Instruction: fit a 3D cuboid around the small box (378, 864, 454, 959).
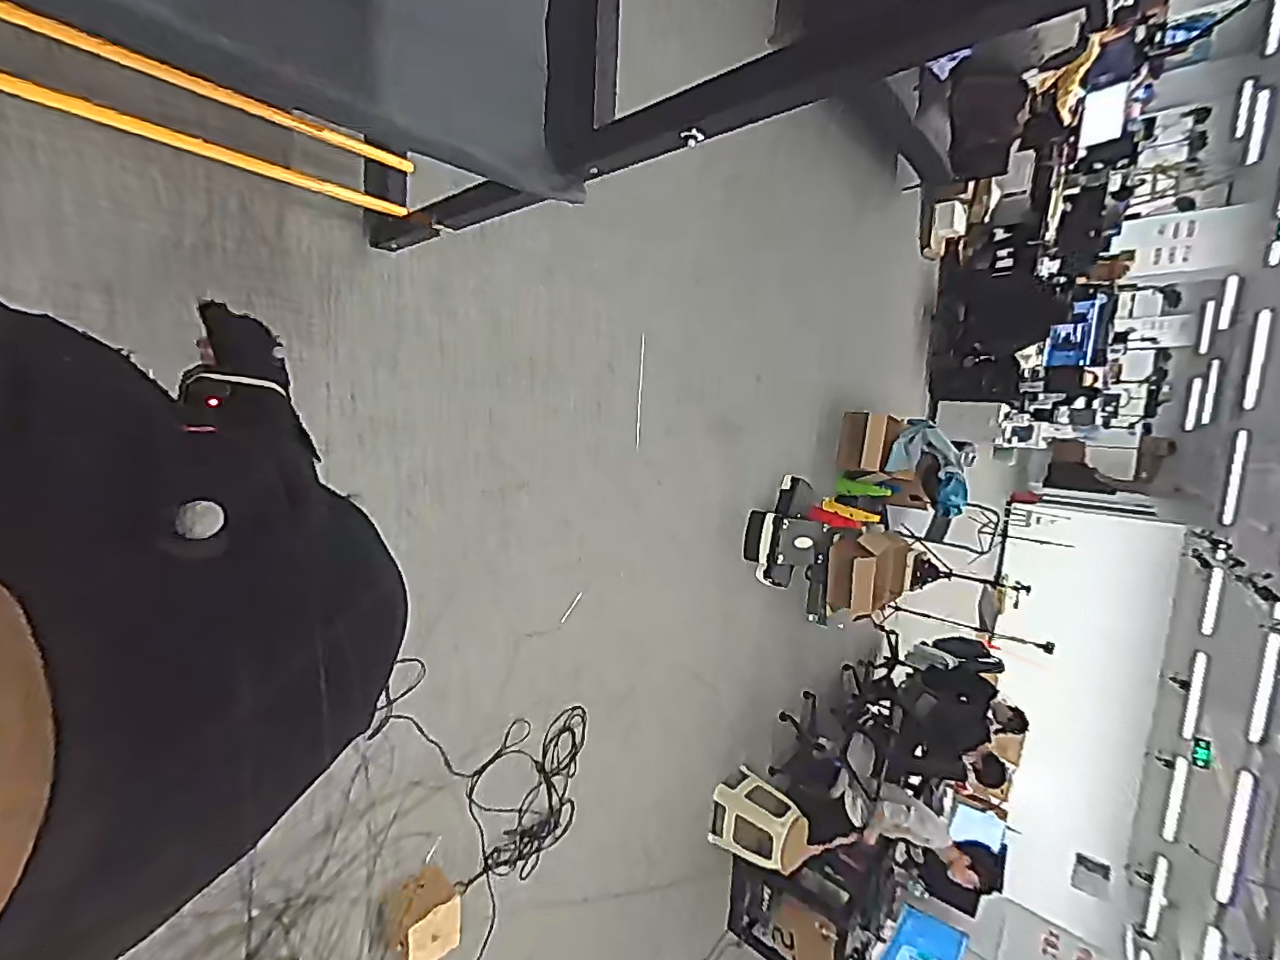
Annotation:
[{"bbox_3d":[-0.693,1.350,1.669,0.168,0.176,0.179,-5,100,-49],"label":"small box"}]
